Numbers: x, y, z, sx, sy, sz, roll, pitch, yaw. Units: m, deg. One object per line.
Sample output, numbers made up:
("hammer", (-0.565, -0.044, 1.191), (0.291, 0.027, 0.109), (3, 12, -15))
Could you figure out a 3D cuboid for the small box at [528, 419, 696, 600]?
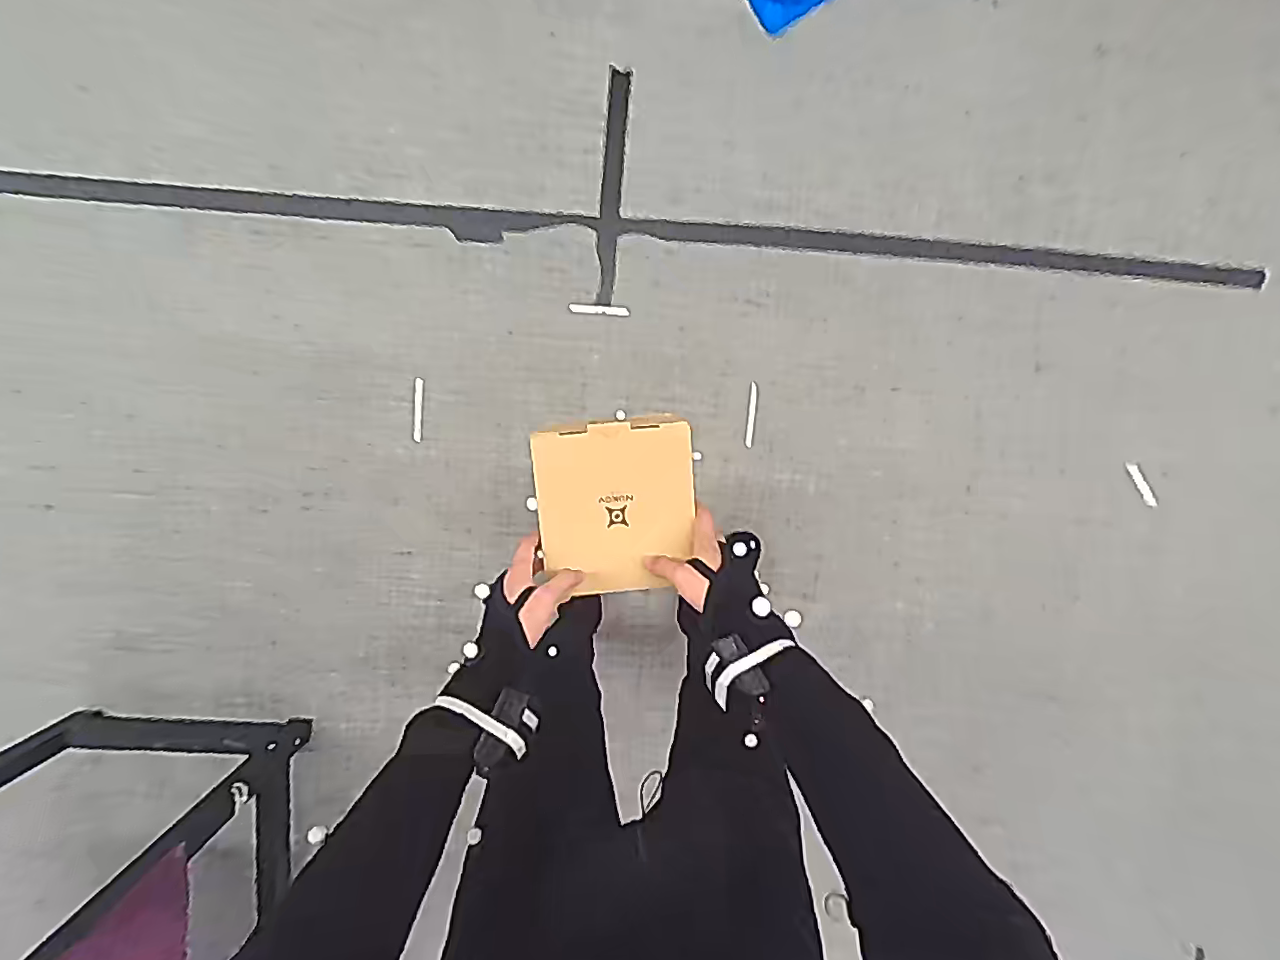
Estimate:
("small box", (-0.028, 0.024, 0.637), (0.168, 0.176, 0.179), (-5, 99, -1))
